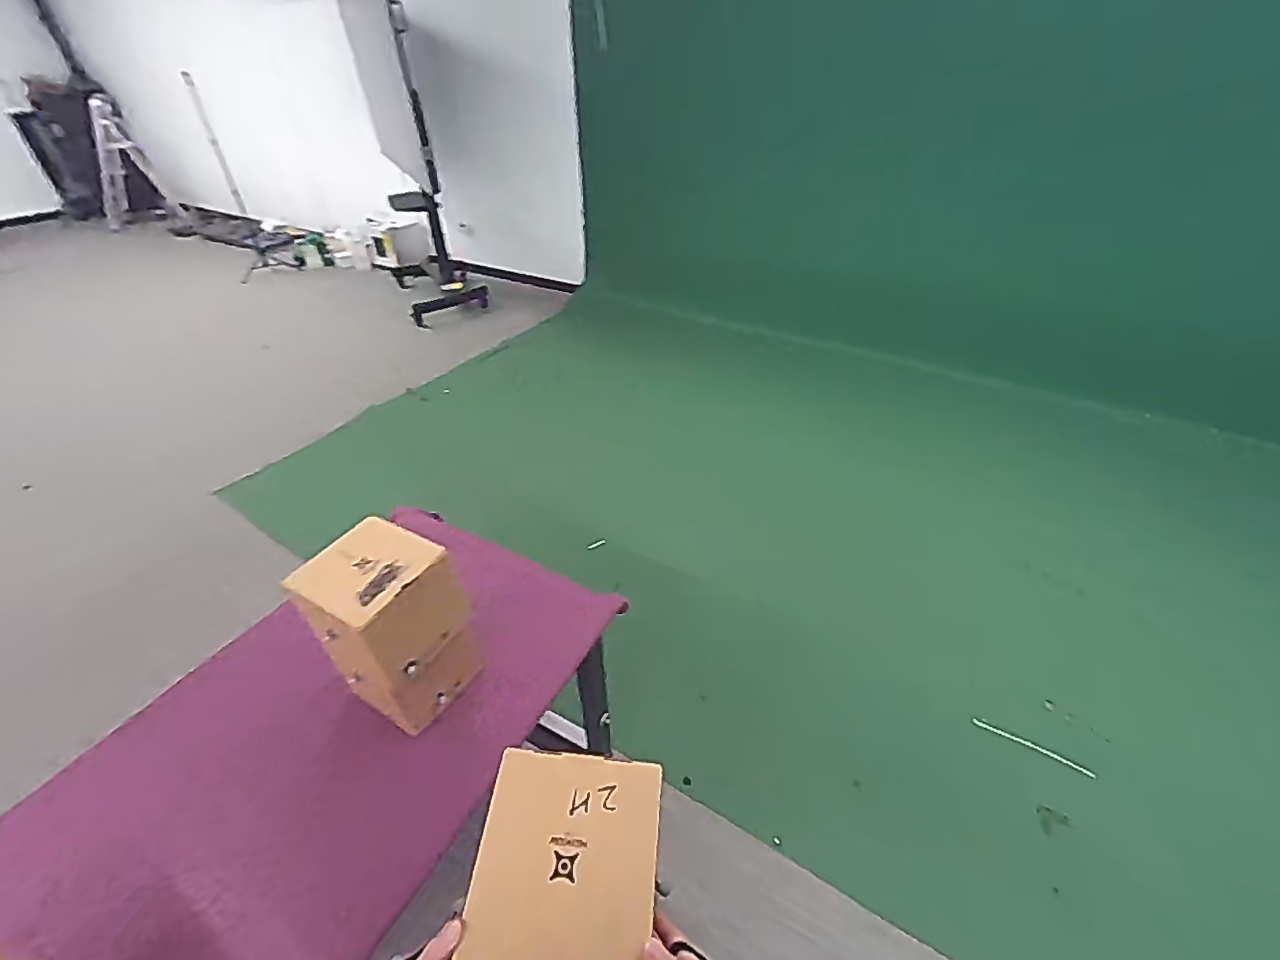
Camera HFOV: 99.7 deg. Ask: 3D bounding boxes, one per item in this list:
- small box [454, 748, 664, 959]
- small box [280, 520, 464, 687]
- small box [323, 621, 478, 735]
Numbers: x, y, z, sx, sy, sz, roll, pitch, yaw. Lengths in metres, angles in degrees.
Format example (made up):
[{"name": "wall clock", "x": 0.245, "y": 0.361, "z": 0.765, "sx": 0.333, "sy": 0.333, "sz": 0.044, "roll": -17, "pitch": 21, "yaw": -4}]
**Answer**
[{"name": "small box", "x": -0.065, "y": 0.403, "z": 0.554, "sx": 0.168, "sy": 0.176, "sz": 0.179, "roll": 5, "pitch": 45, "yaw": 4}, {"name": "small box", "x": -0.409, "y": 0.197, "z": 0.856, "sx": 0.179, "sy": 0.176, "sz": 0.168, "roll": 18, "pitch": 43, "yaw": 24}, {"name": "small box", "x": -0.421, "y": 0.317, "z": 0.968, "sx": 0.179, "sy": 0.176, "sz": 0.168, "roll": 21, "pitch": 45, "yaw": 25}]
